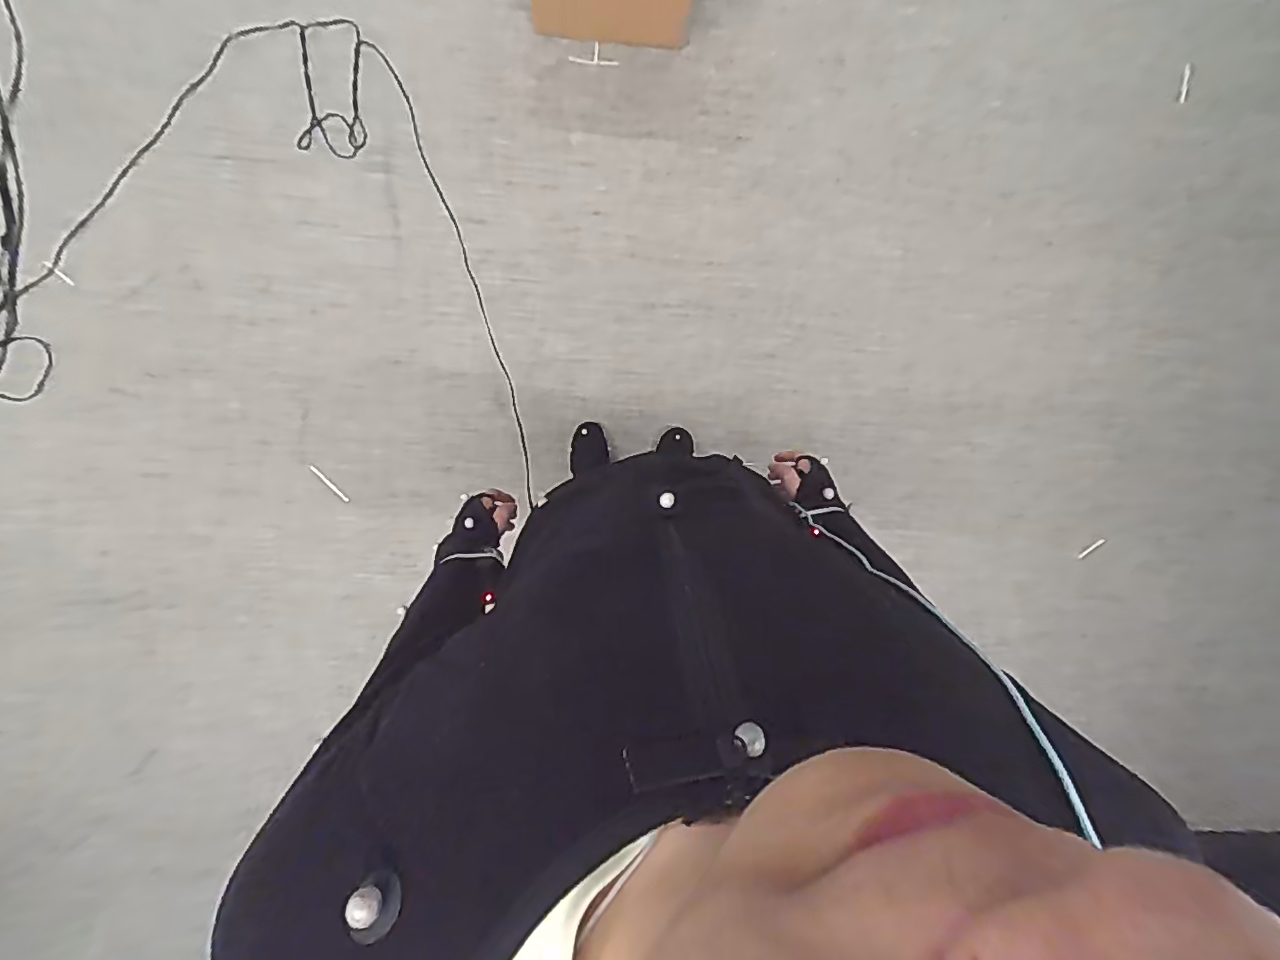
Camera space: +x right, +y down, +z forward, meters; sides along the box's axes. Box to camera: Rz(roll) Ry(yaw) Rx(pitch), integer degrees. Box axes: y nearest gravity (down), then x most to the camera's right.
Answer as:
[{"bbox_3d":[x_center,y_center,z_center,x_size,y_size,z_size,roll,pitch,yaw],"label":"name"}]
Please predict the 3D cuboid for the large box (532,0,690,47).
[{"bbox_3d":[-0.072,-1.346,1.337,0.408,0.320,0.320,1,97,-5],"label":"large box"}]
